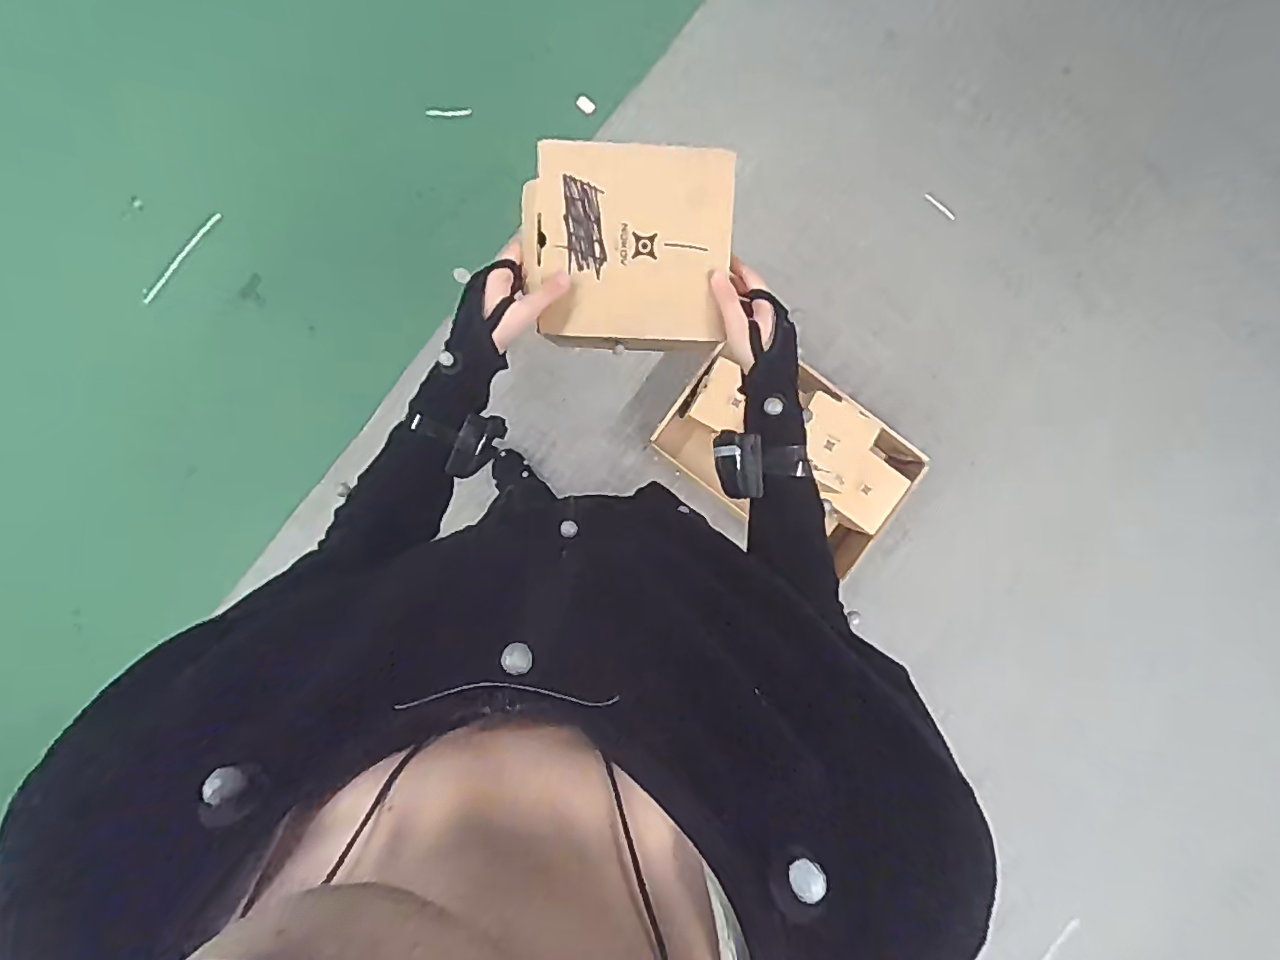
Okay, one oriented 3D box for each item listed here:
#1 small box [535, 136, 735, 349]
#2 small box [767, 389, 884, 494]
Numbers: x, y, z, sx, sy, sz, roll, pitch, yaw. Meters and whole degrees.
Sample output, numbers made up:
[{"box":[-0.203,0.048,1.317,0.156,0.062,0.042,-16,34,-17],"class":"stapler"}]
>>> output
[{"box":[-0.009,-0.229,0.564,0.179,0.176,0.168,2,100,-3],"class":"small box"},{"box":[0.414,-0.084,1.241,0.168,0.176,0.179,28,90,-2],"class":"small box"}]
